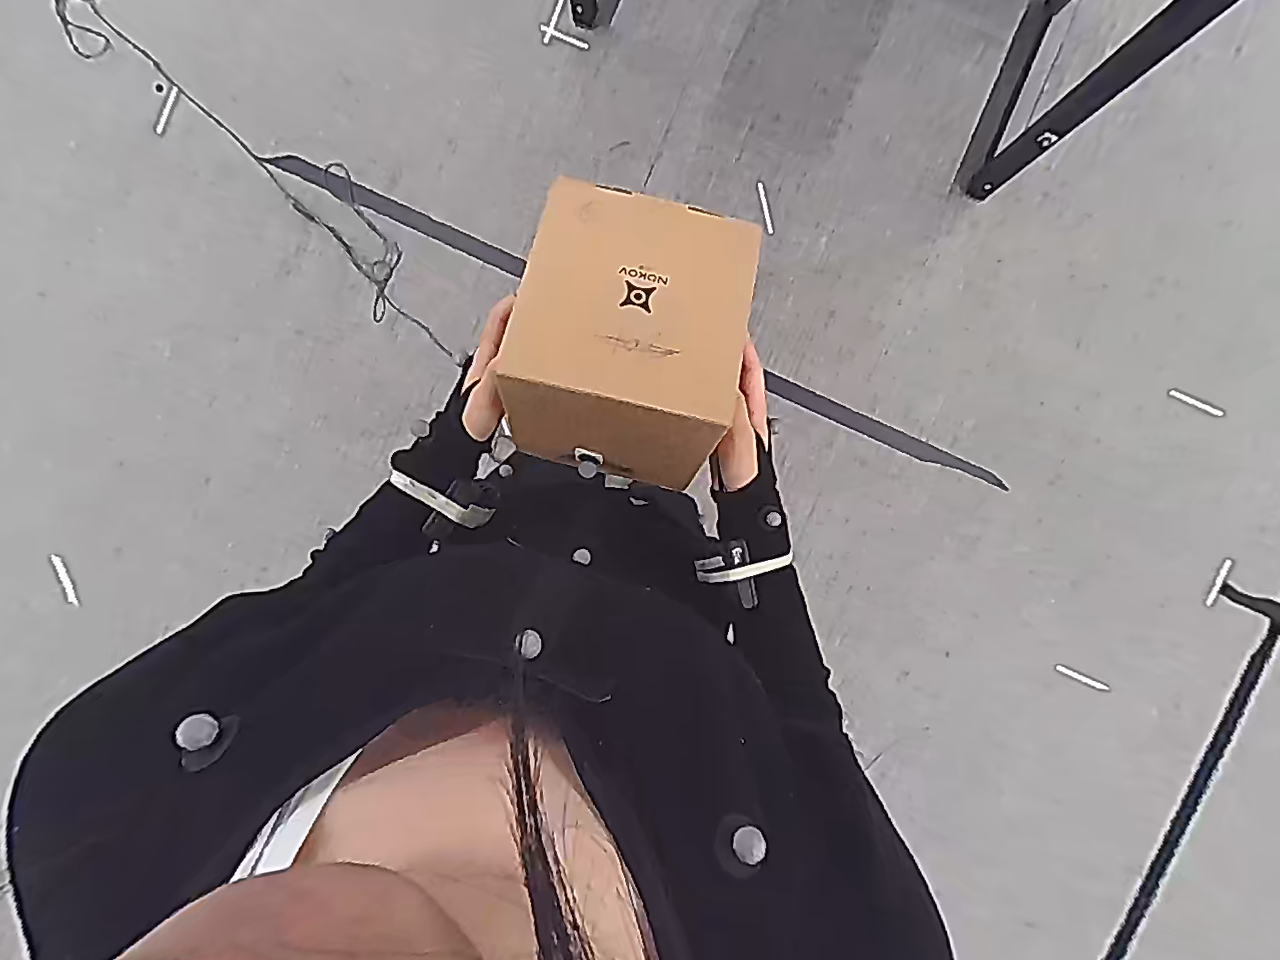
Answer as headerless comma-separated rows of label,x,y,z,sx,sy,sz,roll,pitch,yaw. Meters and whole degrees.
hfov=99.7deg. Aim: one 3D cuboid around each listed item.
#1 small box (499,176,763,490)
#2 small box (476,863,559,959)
small box,-0.009,-0.109,0.462,0.168,0.176,0.179,12,72,-3
small box,-0.323,1.175,1.454,0.179,0.176,0.168,11,92,-1
